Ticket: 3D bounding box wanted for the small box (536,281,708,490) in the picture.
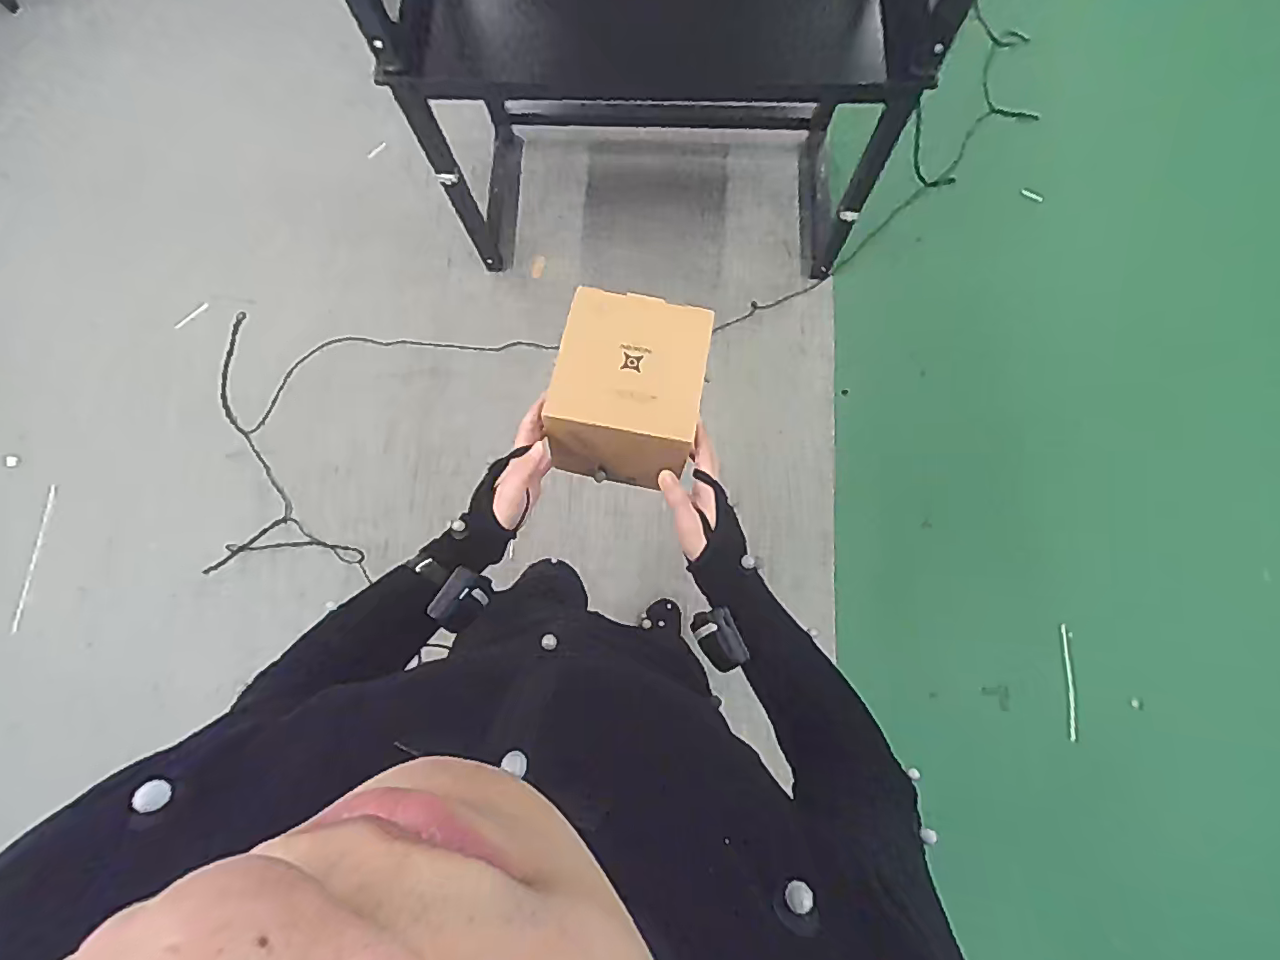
[{"bbox_3d":[-0.021,-0.107,0.663,0.168,0.176,0.179,10,69,0],"label":"small box"}]
